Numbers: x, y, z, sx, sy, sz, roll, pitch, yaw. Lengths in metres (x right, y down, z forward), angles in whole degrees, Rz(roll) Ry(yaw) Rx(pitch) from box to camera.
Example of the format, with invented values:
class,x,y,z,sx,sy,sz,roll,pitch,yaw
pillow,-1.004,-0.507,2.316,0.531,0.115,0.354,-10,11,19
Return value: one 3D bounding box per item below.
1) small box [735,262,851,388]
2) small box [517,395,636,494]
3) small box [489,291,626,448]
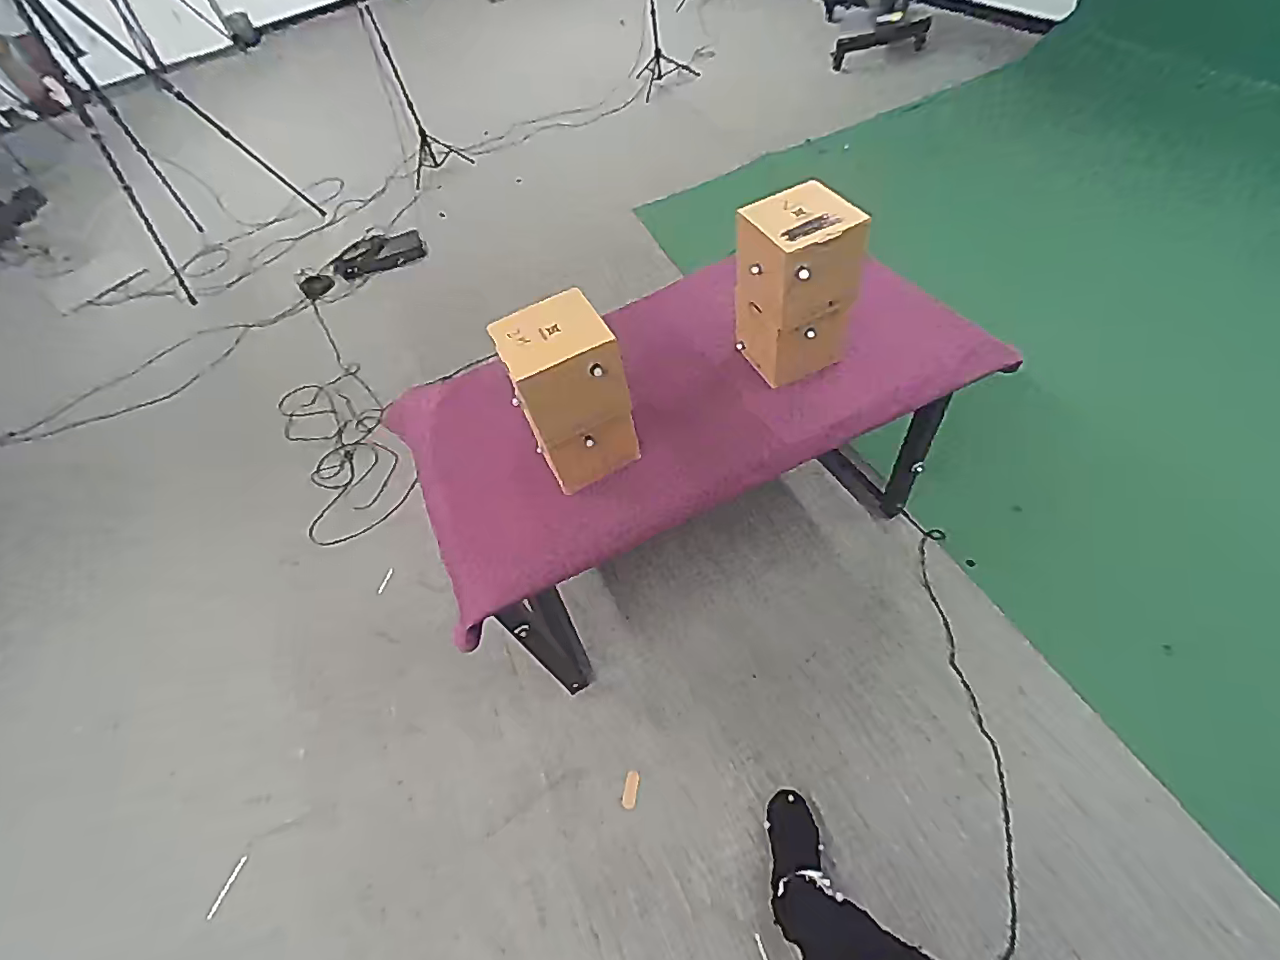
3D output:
class,x,y,z,sx,sy,sz,roll,pitch,yaw
small box,0.321,-0.327,1.159,0.179,0.176,0.168,-24,54,-7
small box,-0.118,-0.104,1.086,0.179,0.176,0.168,-28,55,-9
small box,-0.134,-0.189,0.945,0.179,0.176,0.168,-26,54,-8
